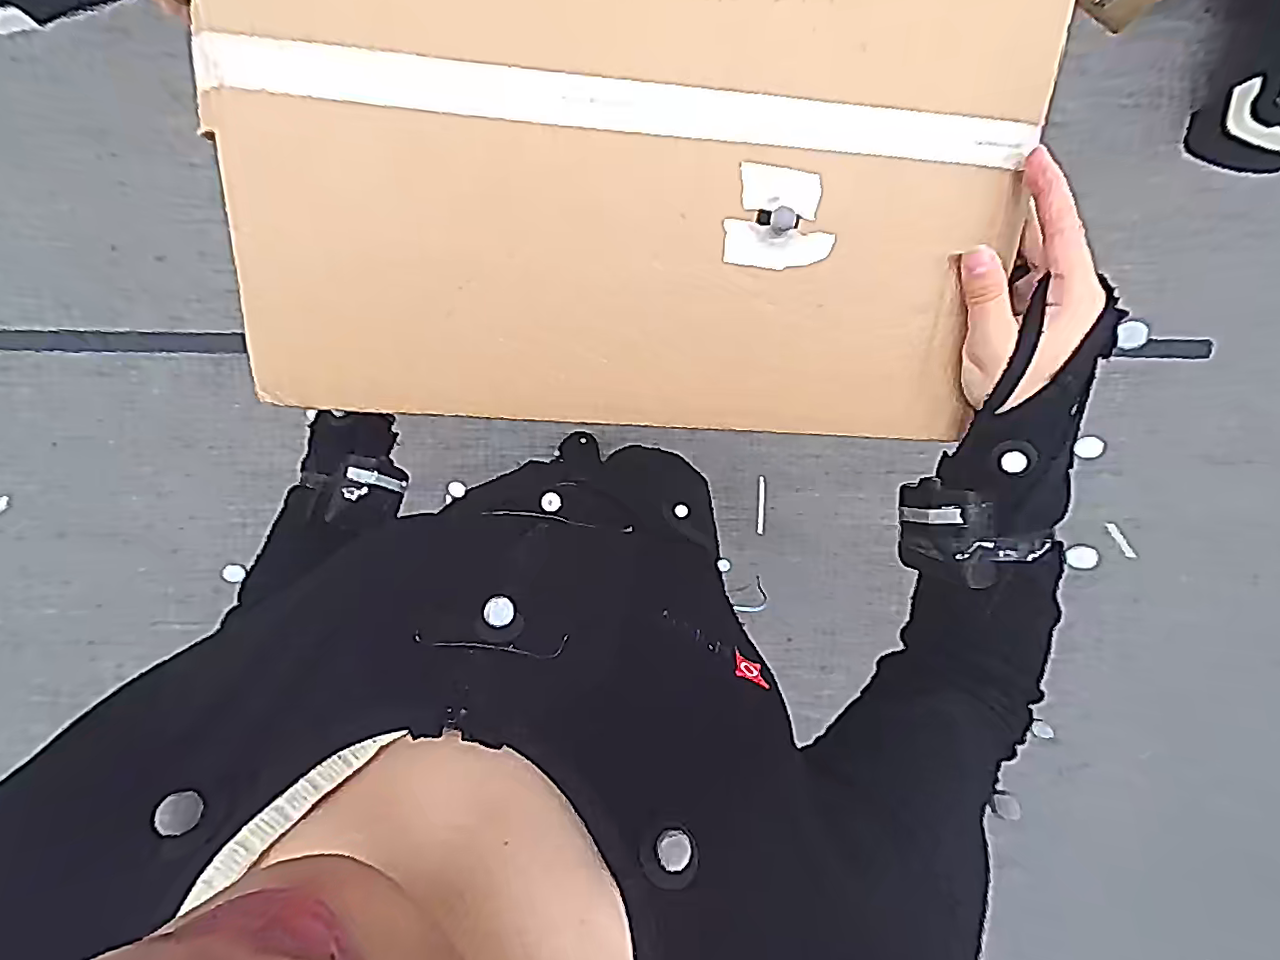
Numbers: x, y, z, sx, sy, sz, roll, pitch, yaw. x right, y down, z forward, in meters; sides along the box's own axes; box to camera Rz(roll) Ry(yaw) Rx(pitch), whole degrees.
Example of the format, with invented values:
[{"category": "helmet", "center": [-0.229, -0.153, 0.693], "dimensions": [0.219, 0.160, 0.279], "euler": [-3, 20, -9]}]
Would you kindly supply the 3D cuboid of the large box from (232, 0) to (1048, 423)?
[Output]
[{"category": "large box", "center": [-0.008, -0.227, 0.418], "dimensions": [0.408, 0.320, 0.320], "euler": [2, 107, -7]}]
